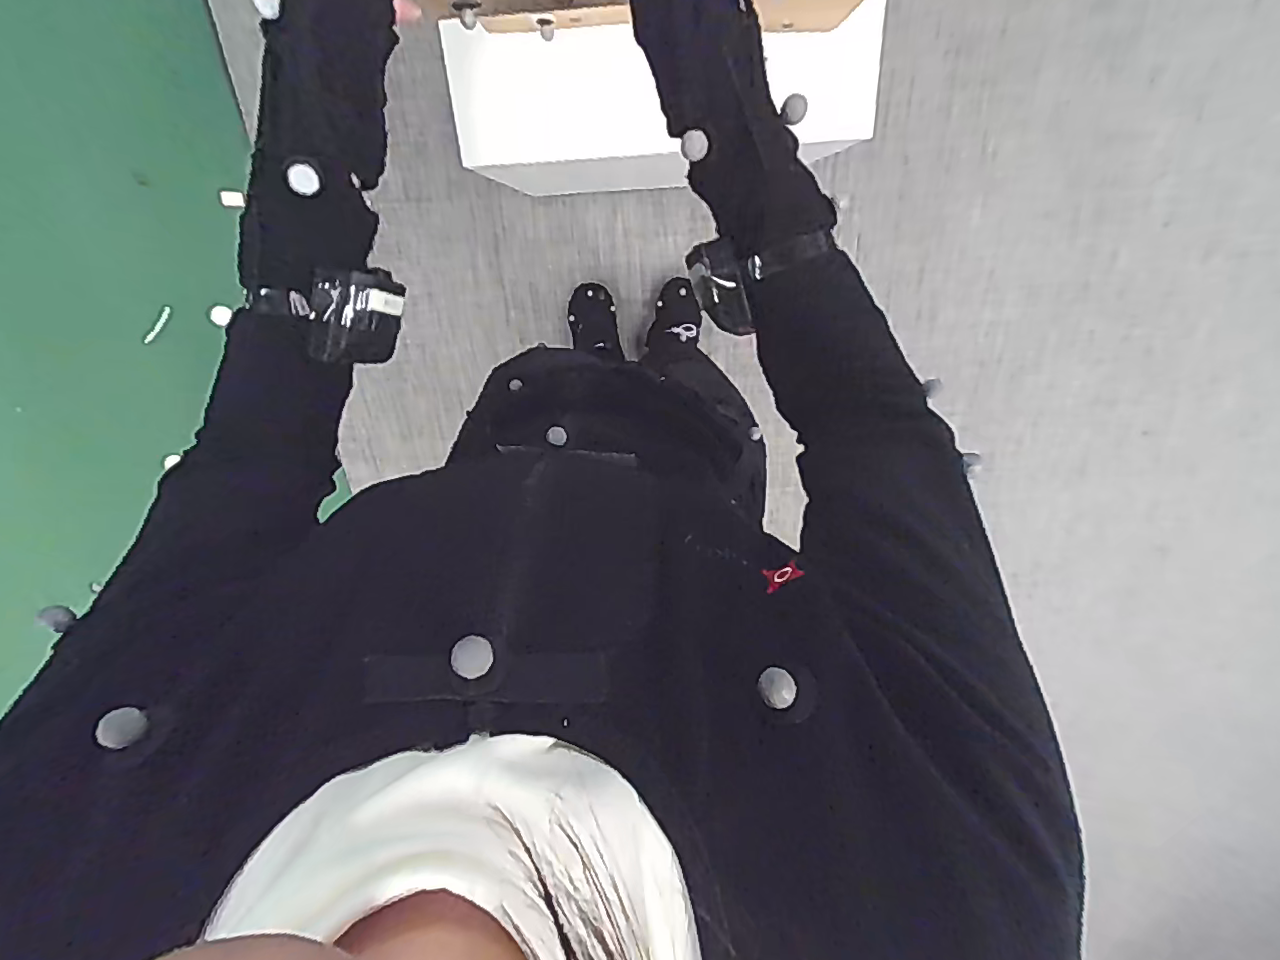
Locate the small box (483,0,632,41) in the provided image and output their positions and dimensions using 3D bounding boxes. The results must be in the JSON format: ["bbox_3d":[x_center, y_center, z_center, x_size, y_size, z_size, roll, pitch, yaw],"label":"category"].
[{"bbox_3d":[-0.095,-0.560,0.517,0.168,0.176,0.179,-4,115,2],"label":"small box"}]

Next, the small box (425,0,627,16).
[{"bbox_3d":[-0.088,-0.406,0.315,0.168,0.176,0.179,-4,114,2],"label":"small box"}]
